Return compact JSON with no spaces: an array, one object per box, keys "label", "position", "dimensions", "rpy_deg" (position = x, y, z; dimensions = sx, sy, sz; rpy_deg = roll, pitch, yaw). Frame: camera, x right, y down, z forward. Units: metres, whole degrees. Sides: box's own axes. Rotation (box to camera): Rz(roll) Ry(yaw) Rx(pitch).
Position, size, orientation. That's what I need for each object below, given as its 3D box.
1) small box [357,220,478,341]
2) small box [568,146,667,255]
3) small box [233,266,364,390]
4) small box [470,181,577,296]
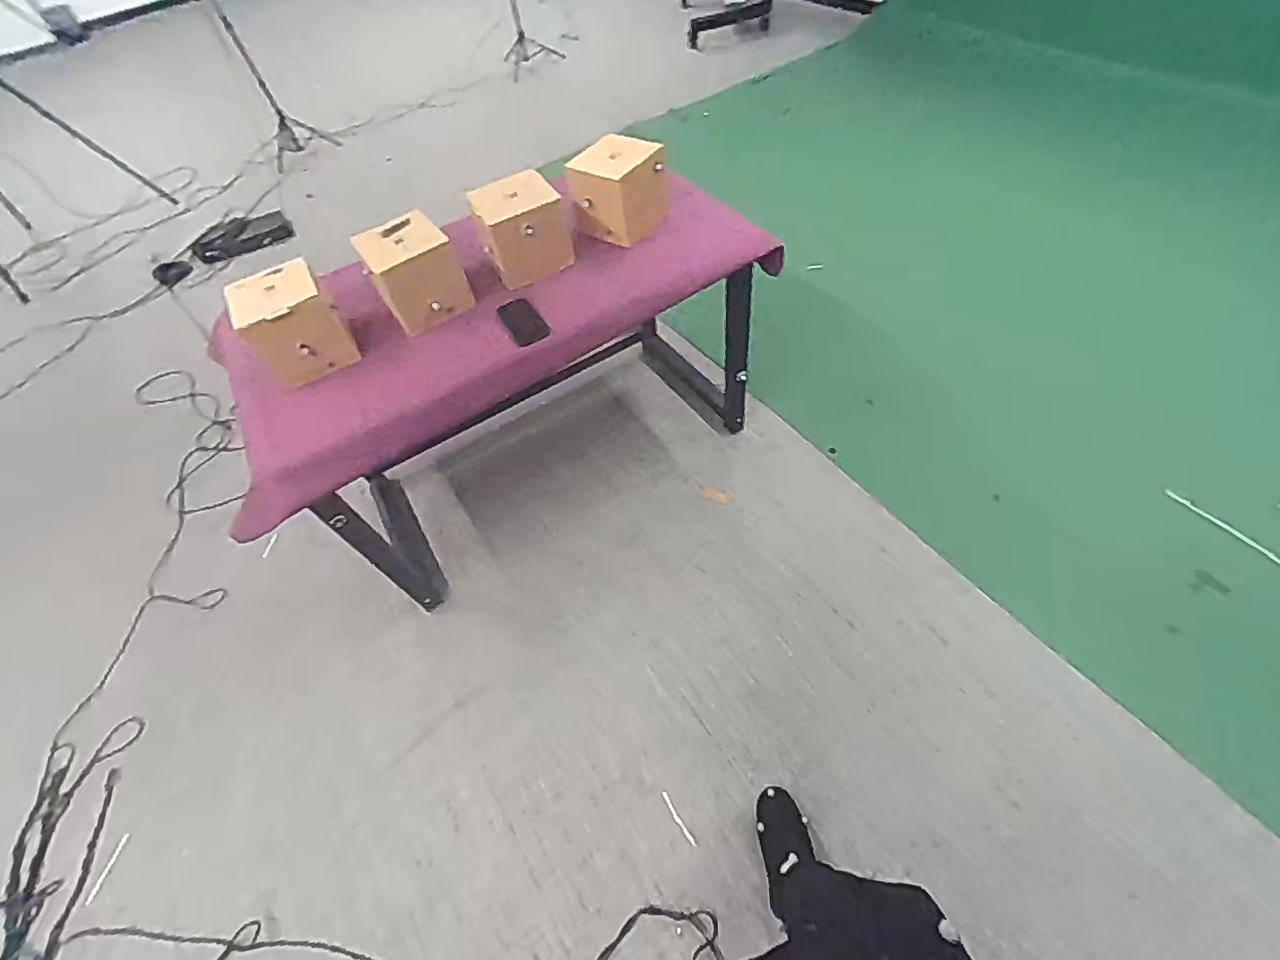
[{"label":"small box","position":[-0.493,-0.445,1.214],"dimensions":[0.168,0.176,0.179],"rpy_deg":[-33,58,-15]},{"label":"small box","position":[-0.045,-0.681,1.322],"dimensions":[0.168,0.176,0.179],"rpy_deg":[29,63,26]},{"label":"small box","position":[-0.721,-0.315,1.153],"dimensions":[0.168,0.176,0.179],"rpy_deg":[-29,56,-13]},{"label":"small box","position":[-0.268,-0.562,1.269],"dimensions":[0.179,0.176,0.168],"rpy_deg":[-27,56,-11]}]
